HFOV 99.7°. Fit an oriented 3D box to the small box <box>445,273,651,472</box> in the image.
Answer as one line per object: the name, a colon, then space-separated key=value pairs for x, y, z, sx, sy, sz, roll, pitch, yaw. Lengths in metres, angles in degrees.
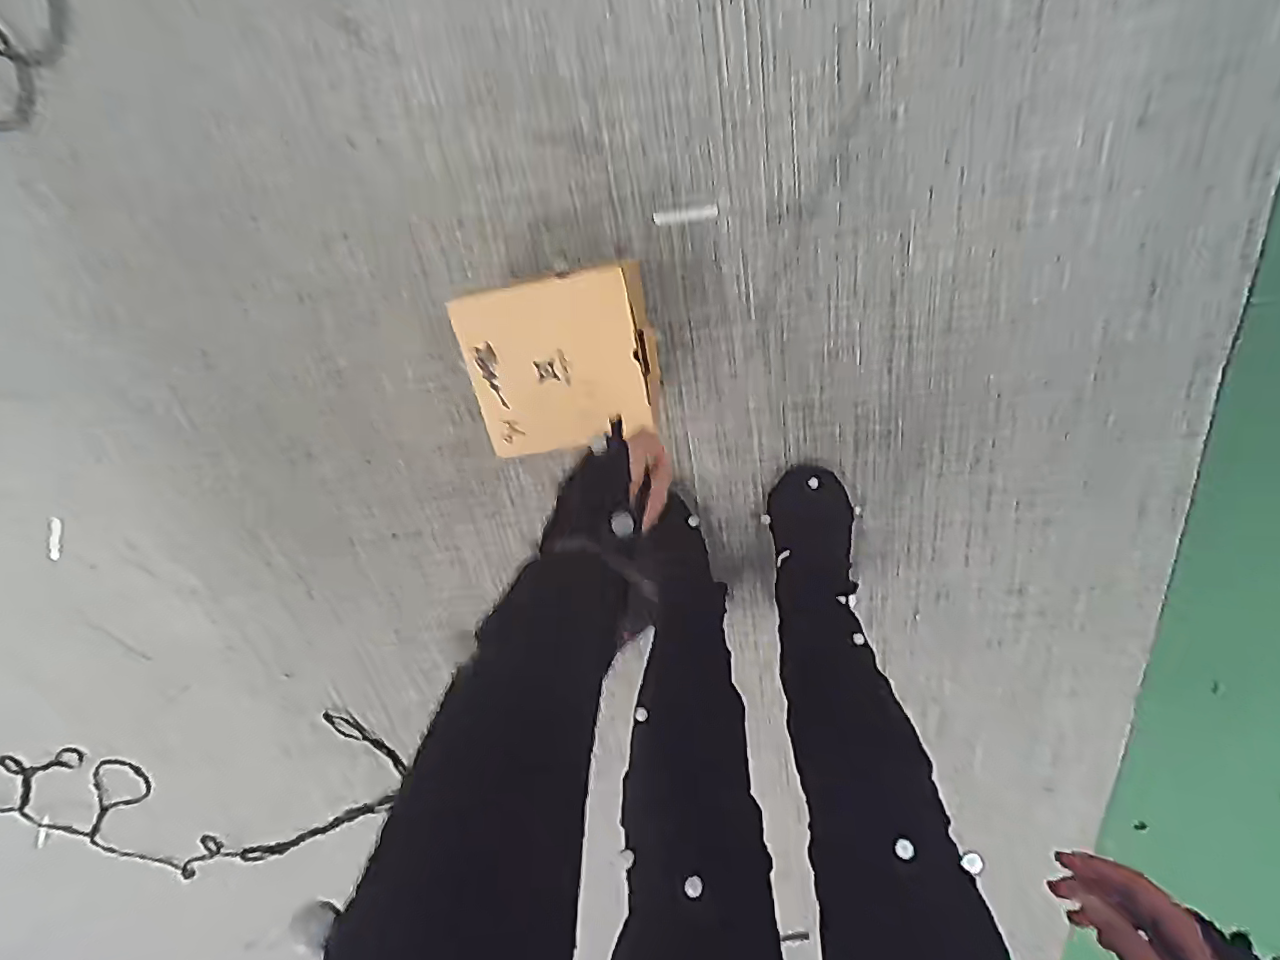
small box: x=-0.086 y=-0.128 z=0.611 sx=0.179 sy=0.176 sz=0.168 roll=-9 pitch=115 yaw=6
